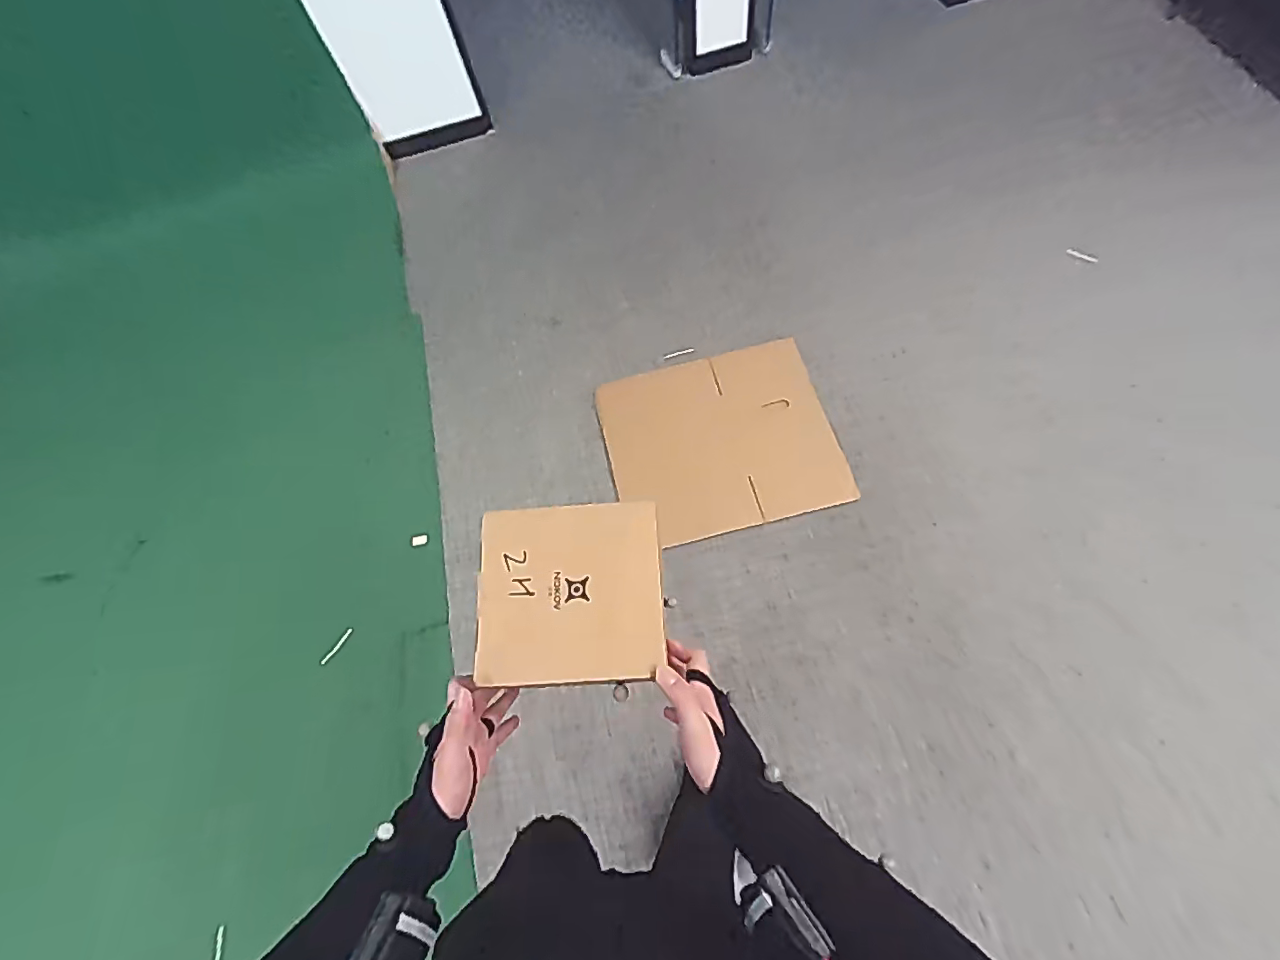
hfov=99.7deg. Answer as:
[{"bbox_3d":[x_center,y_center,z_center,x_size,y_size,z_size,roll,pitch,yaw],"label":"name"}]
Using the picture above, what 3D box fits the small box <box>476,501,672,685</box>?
[{"bbox_3d":[-0.059,0.128,0.580,0.179,0.176,0.168,-4,69,2],"label":"small box"}]
